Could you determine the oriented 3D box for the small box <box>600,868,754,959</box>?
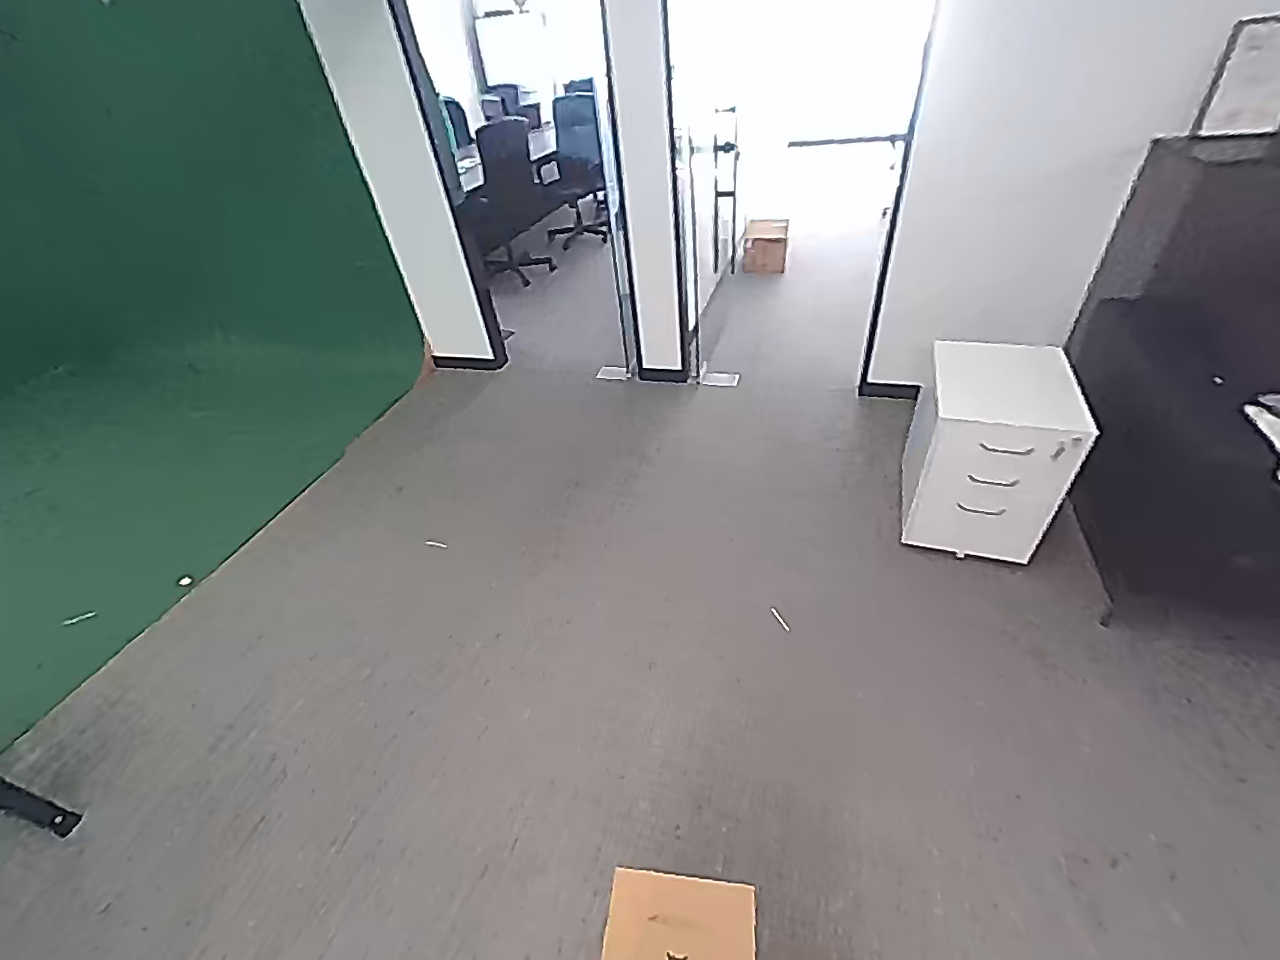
[{"bbox_3d":[0.043,0.584,0.615,0.168,0.176,0.179,2,36,9],"label":"small box"}]
